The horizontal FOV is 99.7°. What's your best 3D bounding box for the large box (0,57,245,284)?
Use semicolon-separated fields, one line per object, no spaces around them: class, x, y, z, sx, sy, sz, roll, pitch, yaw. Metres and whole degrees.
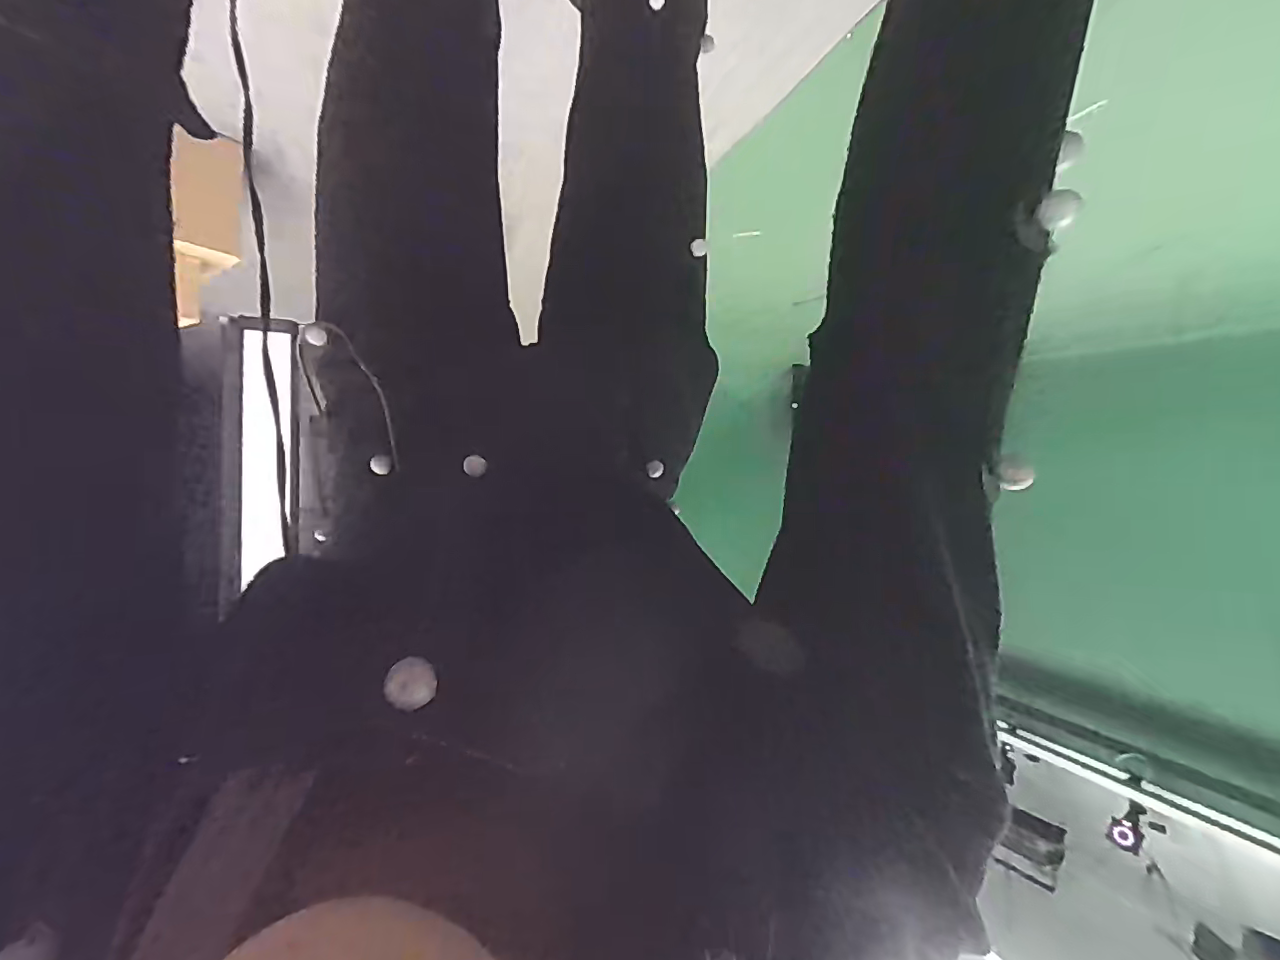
large box;-1.291;-0.734;1.365;0.320;0.320;0.408;1;179;36
